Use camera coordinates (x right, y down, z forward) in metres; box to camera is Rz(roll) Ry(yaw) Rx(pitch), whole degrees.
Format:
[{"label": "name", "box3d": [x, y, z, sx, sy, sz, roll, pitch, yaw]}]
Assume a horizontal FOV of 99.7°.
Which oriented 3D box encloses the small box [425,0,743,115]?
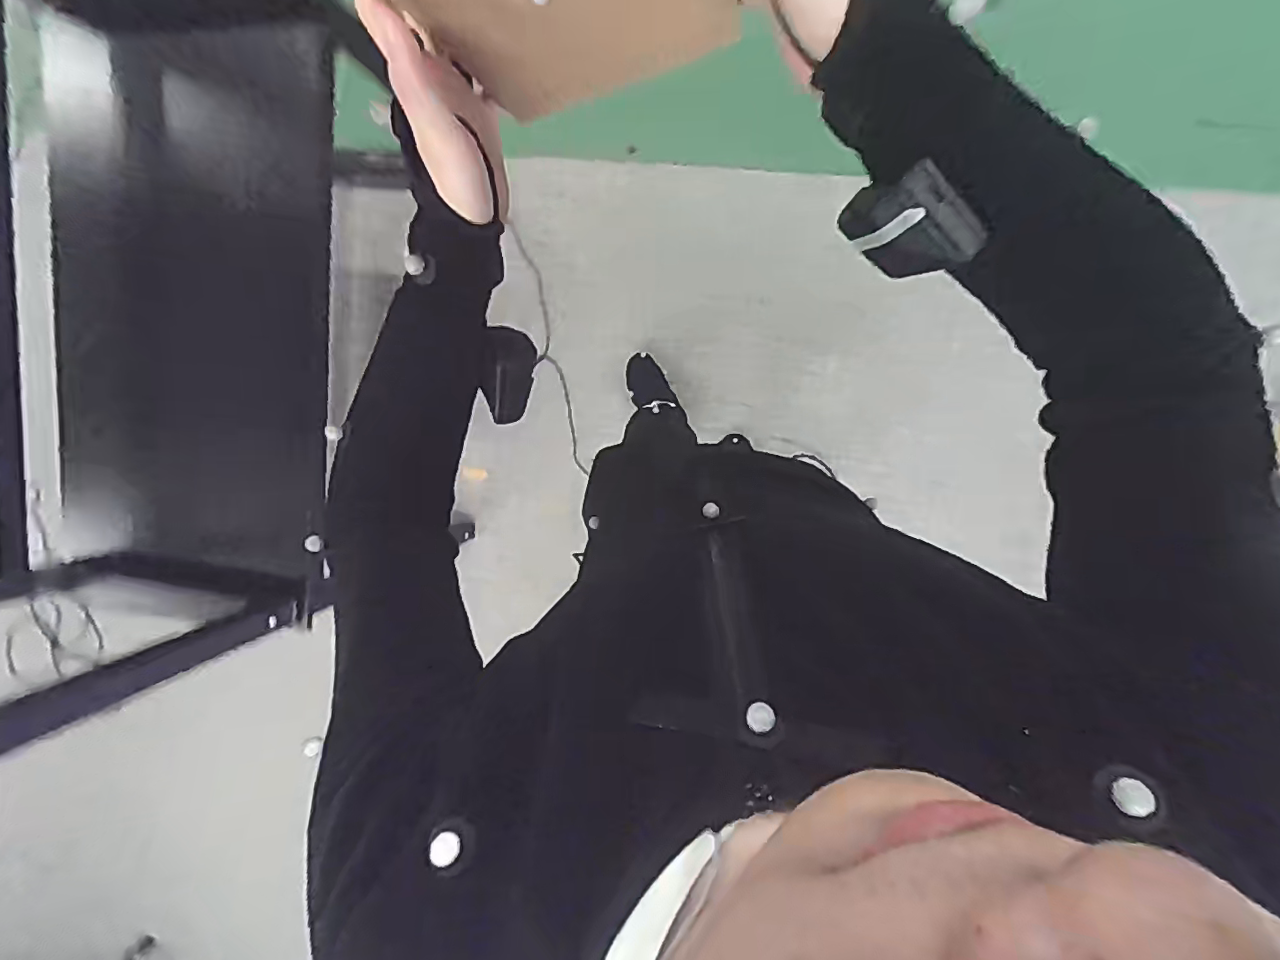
[{"label": "small box", "box3d": [-0.044, -0.357, 0.317, 0.179, 0.176, 0.168, -9, 98, 16]}]
